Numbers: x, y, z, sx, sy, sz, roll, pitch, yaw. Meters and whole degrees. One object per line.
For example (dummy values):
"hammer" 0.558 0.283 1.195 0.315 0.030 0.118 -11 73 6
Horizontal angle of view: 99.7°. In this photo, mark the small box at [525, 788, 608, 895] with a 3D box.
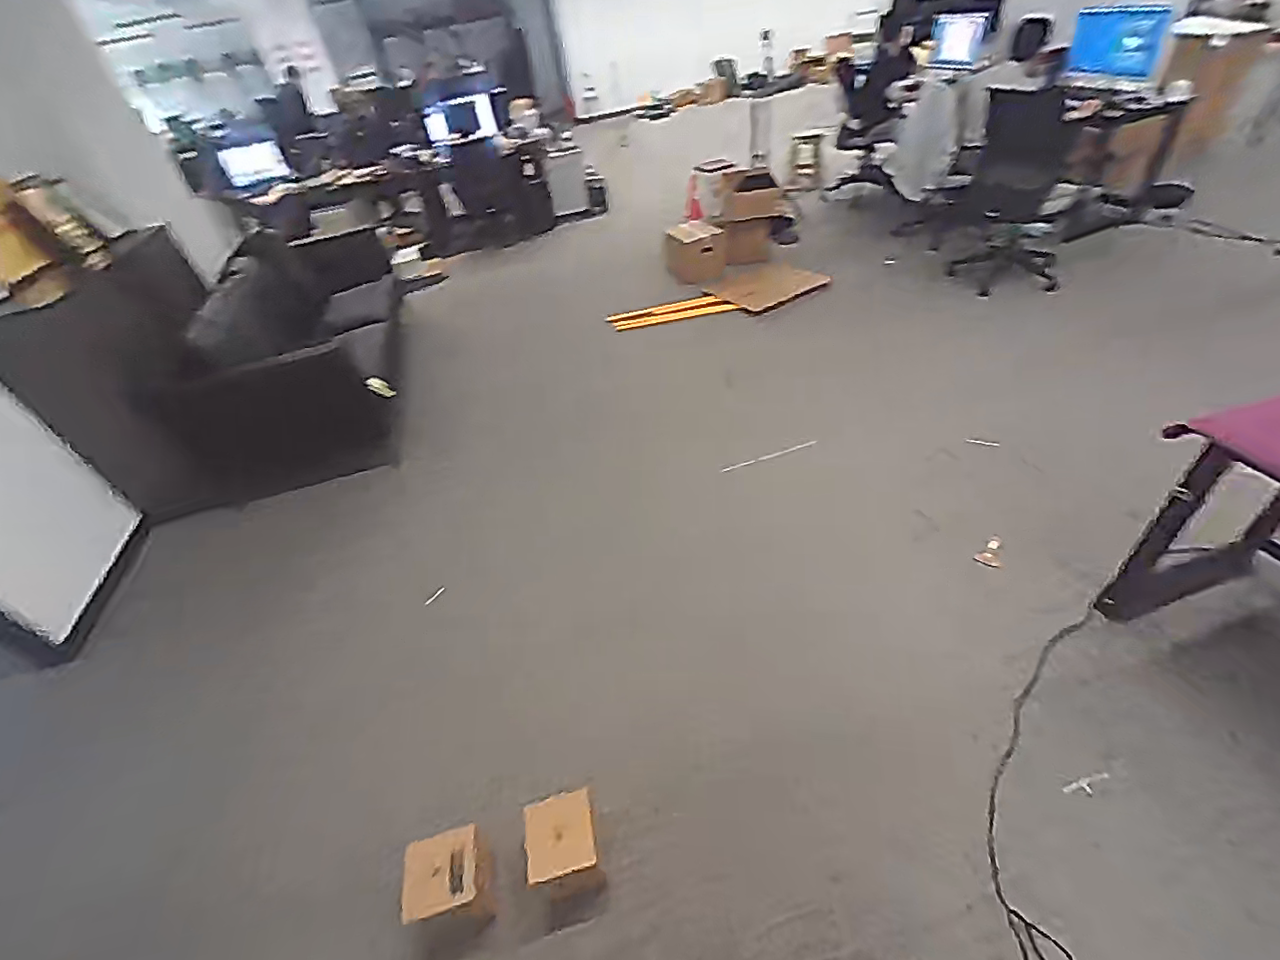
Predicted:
"small box" -0.186 0.925 1.375 0.168 0.176 0.179 -15 40 -4
